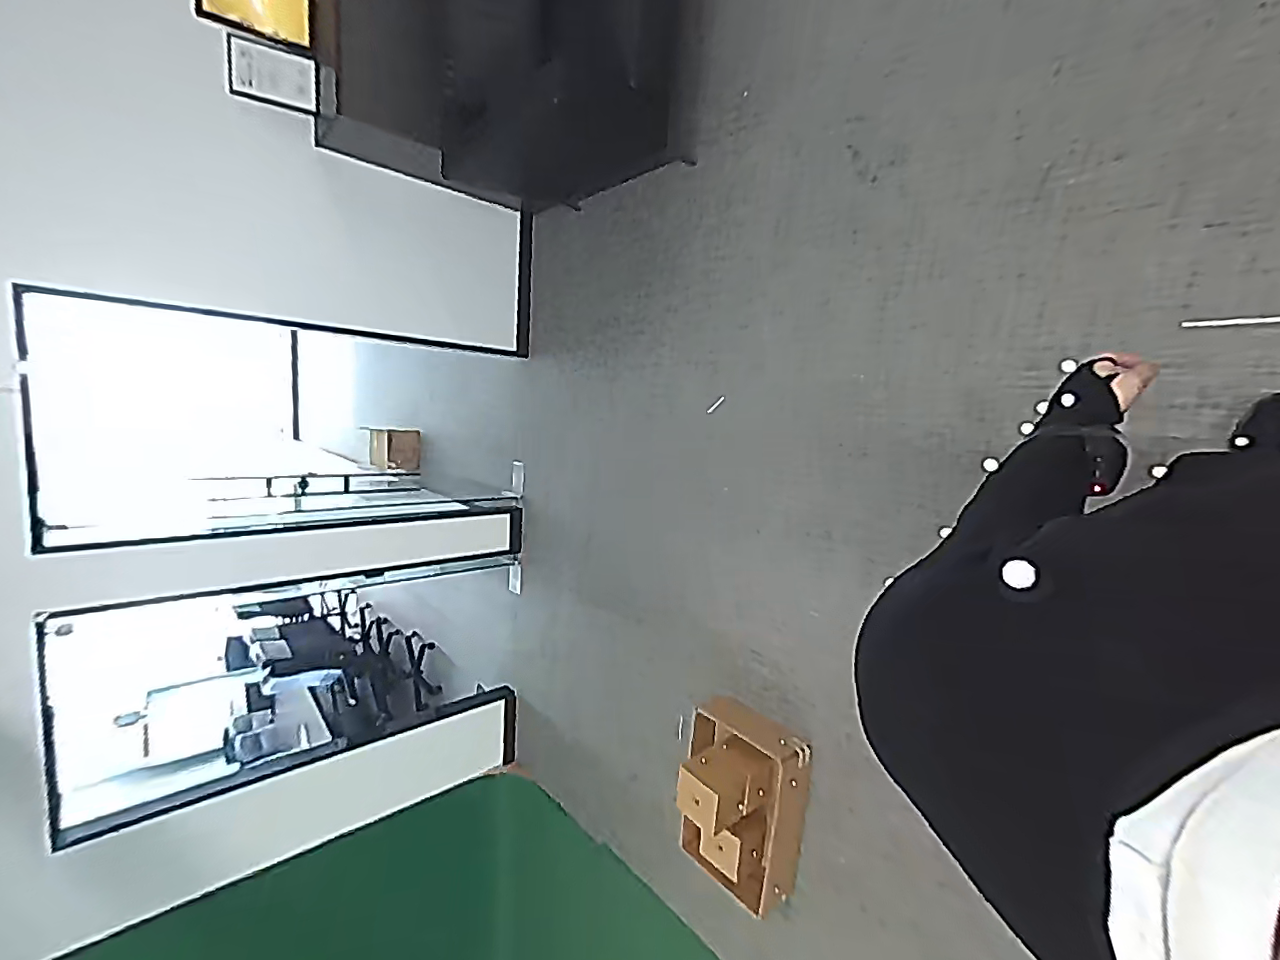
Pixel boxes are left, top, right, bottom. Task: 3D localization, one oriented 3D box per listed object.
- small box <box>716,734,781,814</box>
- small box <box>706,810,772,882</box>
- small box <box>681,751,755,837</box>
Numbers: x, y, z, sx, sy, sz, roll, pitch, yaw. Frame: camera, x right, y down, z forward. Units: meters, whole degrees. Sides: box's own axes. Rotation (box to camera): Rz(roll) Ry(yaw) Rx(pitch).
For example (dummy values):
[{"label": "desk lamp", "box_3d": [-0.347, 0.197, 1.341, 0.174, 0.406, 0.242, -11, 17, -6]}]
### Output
[{"label": "small box", "box_3d": [0.390, 1.055, 1.962, 0.179, 0.176, 0.168, 12, 101, 47]}, {"label": "small box", "box_3d": [0.368, 1.313, 1.995, 0.179, 0.176, 0.168, 11, 99, 46]}, {"label": "small box", "box_3d": [0.267, 1.062, 1.854, 0.179, 0.176, 0.168, 15, 105, 46]}]
